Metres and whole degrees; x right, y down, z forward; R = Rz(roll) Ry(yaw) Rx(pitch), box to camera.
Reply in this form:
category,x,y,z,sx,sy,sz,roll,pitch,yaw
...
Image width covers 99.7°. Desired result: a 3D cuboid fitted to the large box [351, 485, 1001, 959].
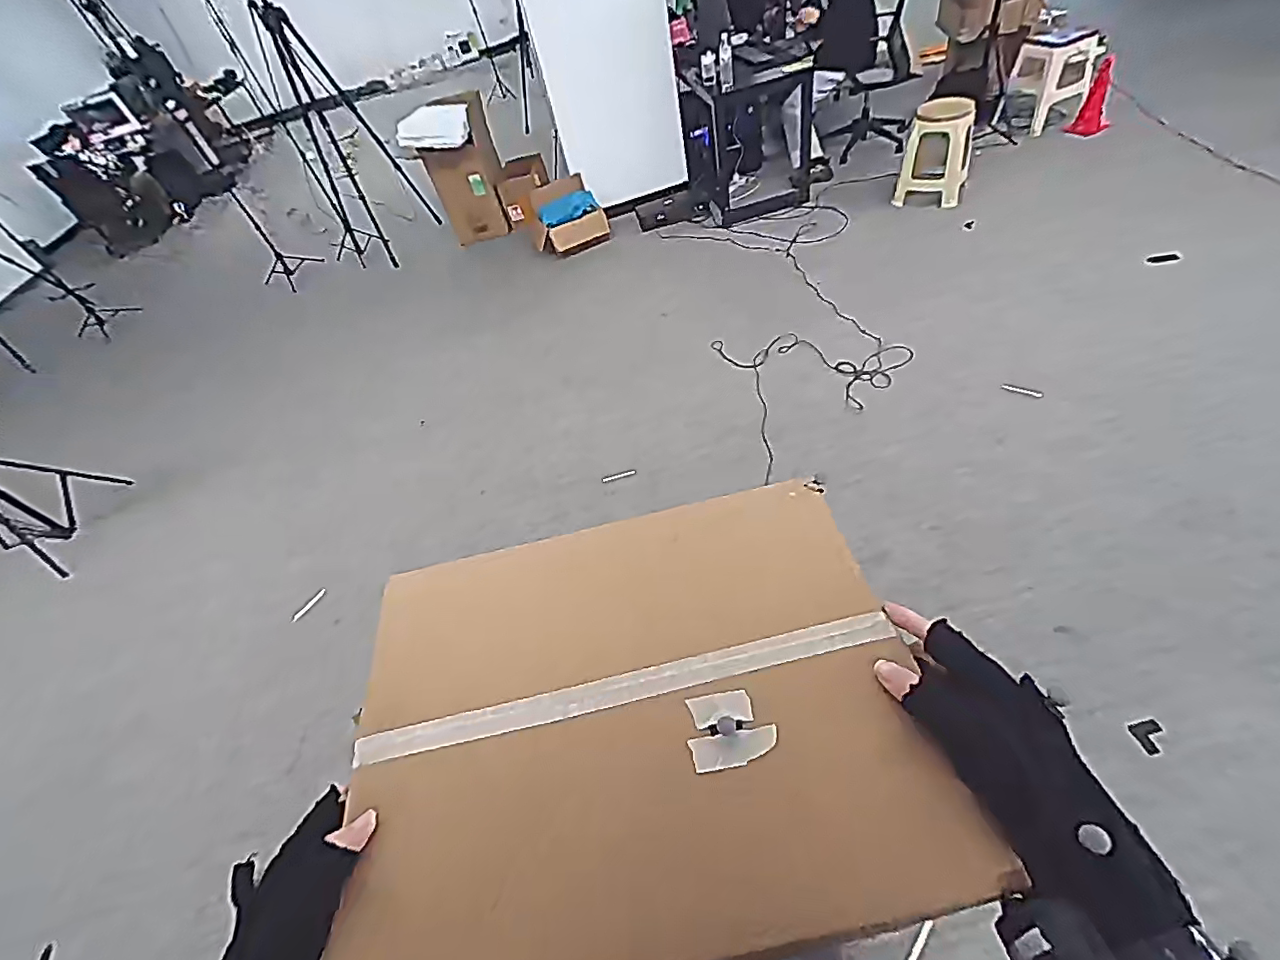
category,x,y,z,sx,sy,sz,roll,pitch,yaw
large box,0.018,0.259,0.521,0.408,0.320,0.320,-14,48,0
